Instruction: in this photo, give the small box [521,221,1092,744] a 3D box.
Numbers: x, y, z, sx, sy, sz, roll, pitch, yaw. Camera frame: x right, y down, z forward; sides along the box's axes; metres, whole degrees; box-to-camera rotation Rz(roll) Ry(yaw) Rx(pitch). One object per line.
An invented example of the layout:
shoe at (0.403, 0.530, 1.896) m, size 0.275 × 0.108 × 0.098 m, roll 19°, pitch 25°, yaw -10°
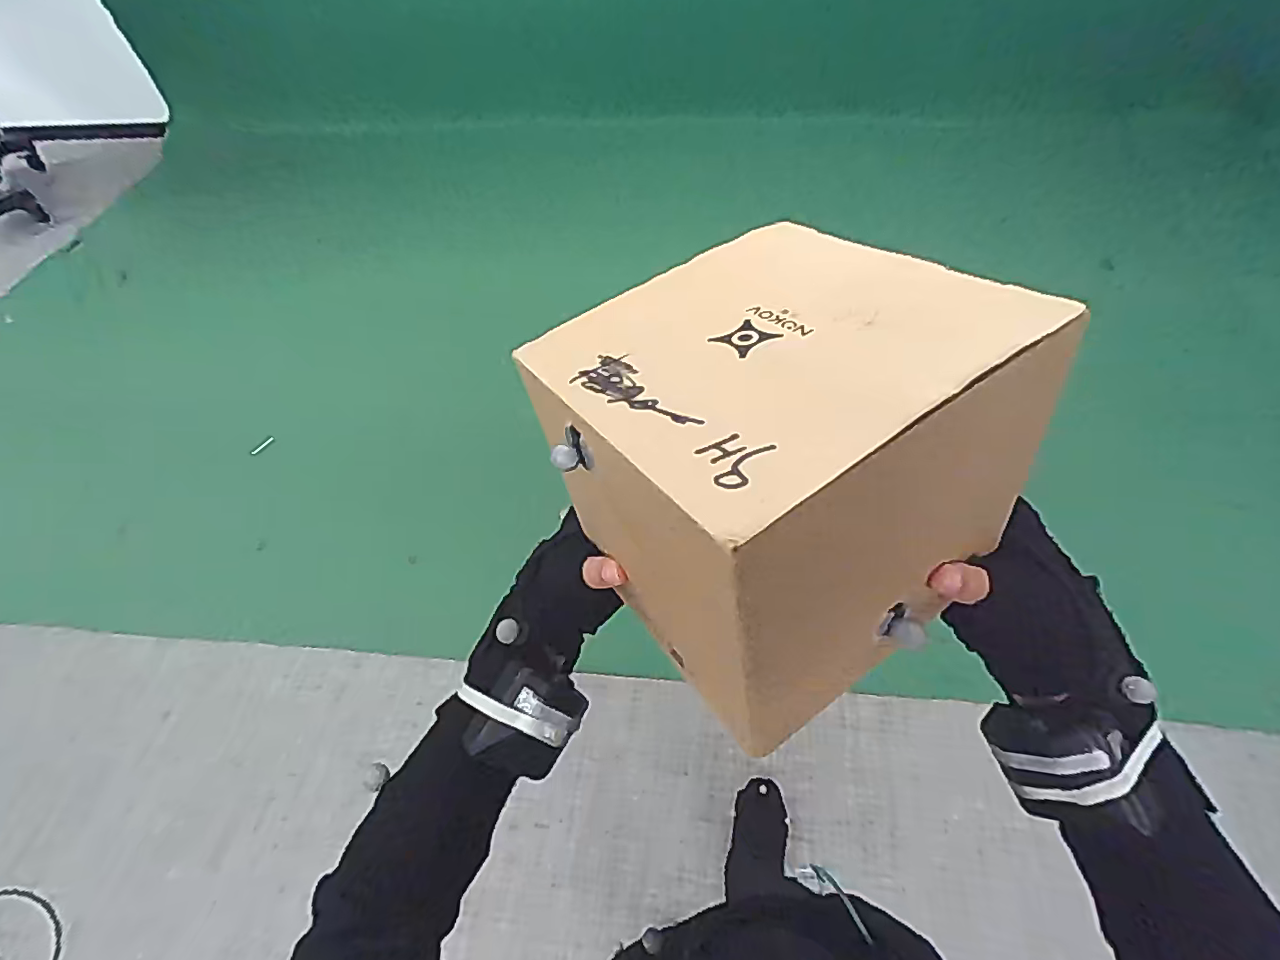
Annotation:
small box at (0.069, -0.007, 0.282) m, size 0.179 × 0.176 × 0.168 m, roll -30°, pitch 44°, yaw -17°
